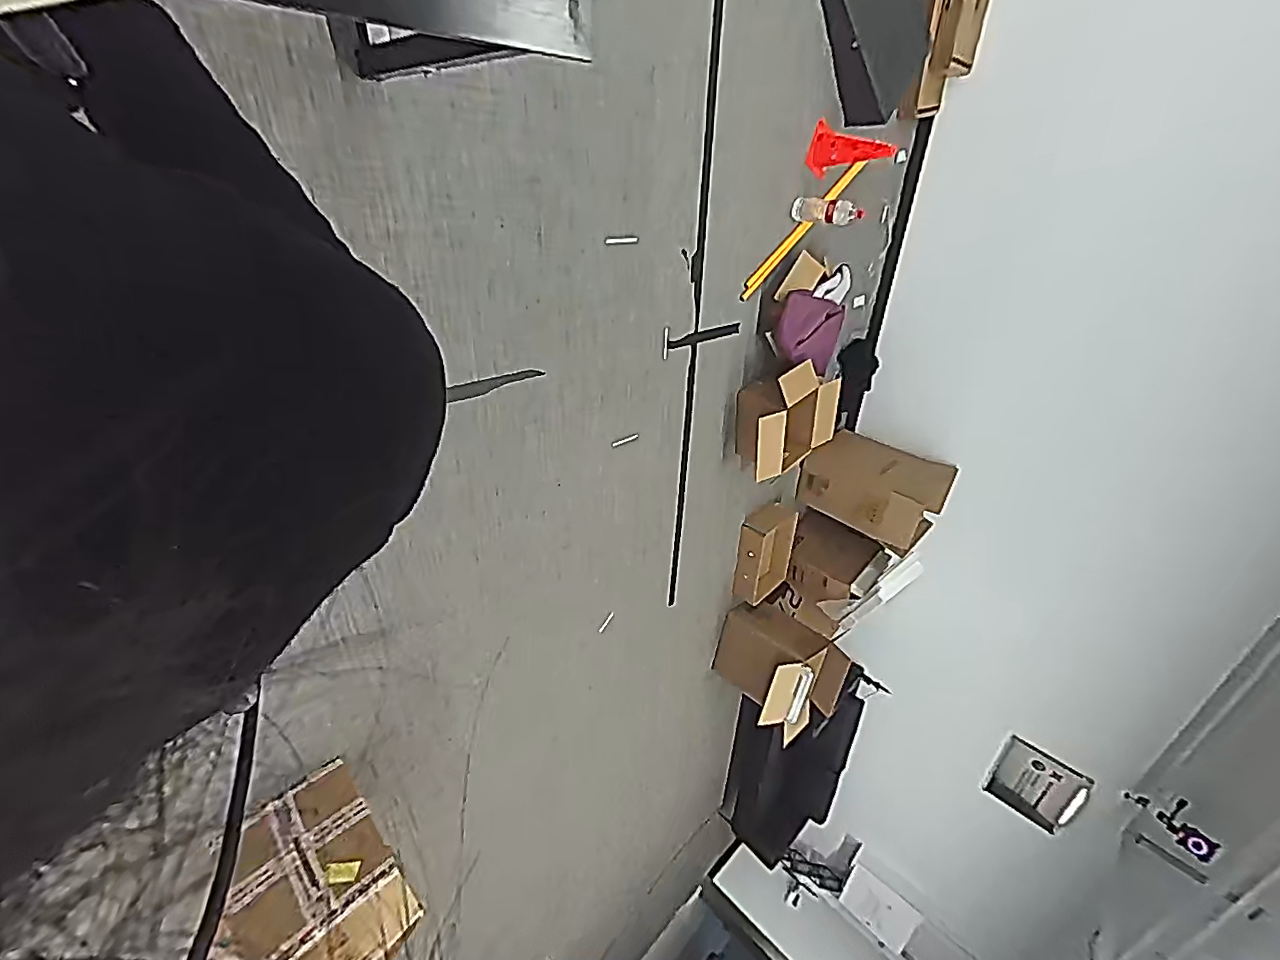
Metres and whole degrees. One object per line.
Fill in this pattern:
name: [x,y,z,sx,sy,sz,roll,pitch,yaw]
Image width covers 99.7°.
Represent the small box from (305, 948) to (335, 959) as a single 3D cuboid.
small box: [-0.868,1.395,1.410,0.179,0.176,0.168,-31,131,-34]
